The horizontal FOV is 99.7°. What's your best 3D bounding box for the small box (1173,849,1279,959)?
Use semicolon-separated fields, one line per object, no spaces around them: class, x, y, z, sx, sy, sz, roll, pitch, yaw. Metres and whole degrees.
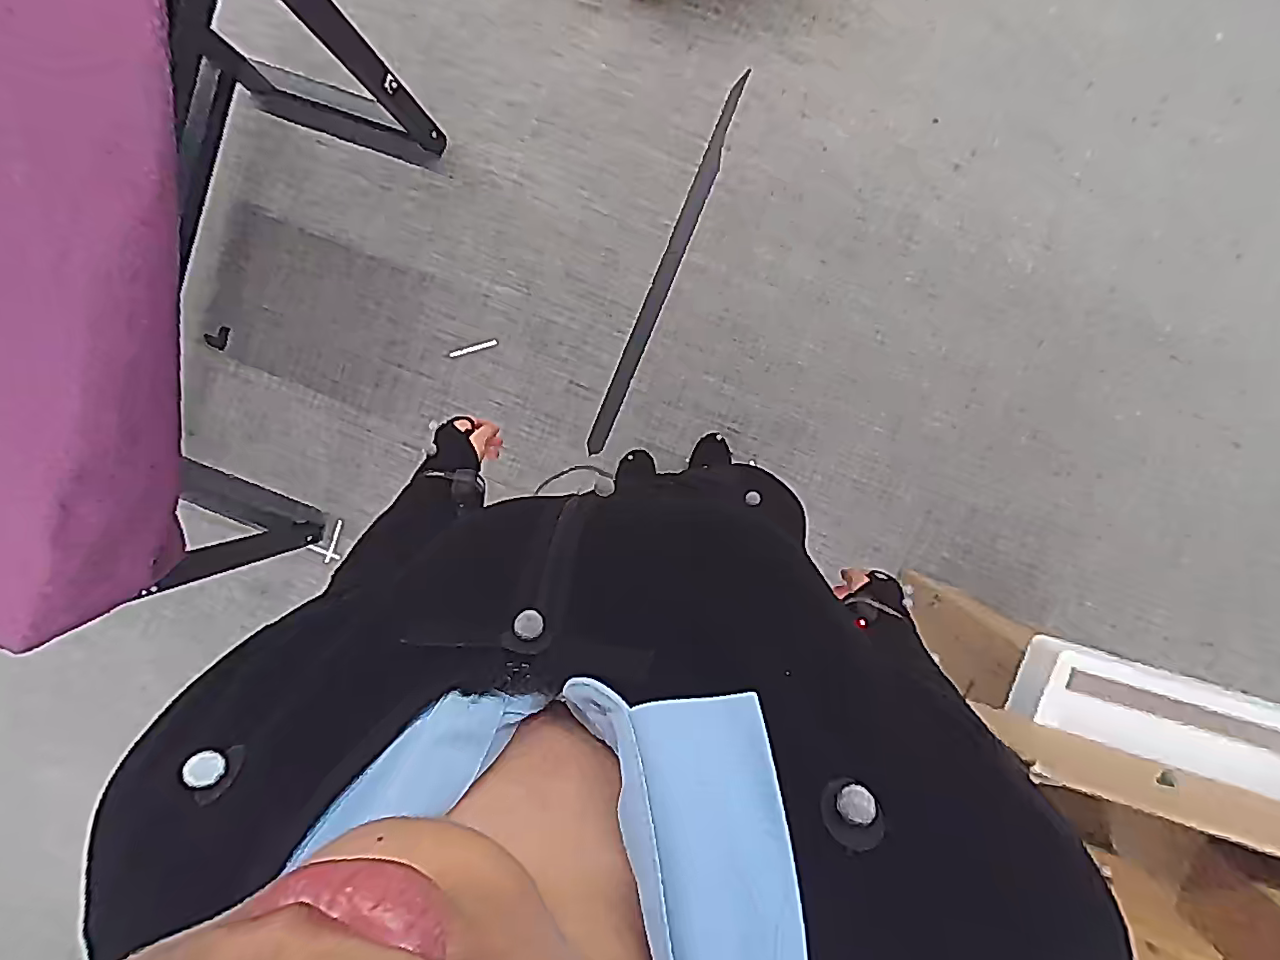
small box;0.805;0.597;0.641;0.168;0.176;0.179;14;98;5
